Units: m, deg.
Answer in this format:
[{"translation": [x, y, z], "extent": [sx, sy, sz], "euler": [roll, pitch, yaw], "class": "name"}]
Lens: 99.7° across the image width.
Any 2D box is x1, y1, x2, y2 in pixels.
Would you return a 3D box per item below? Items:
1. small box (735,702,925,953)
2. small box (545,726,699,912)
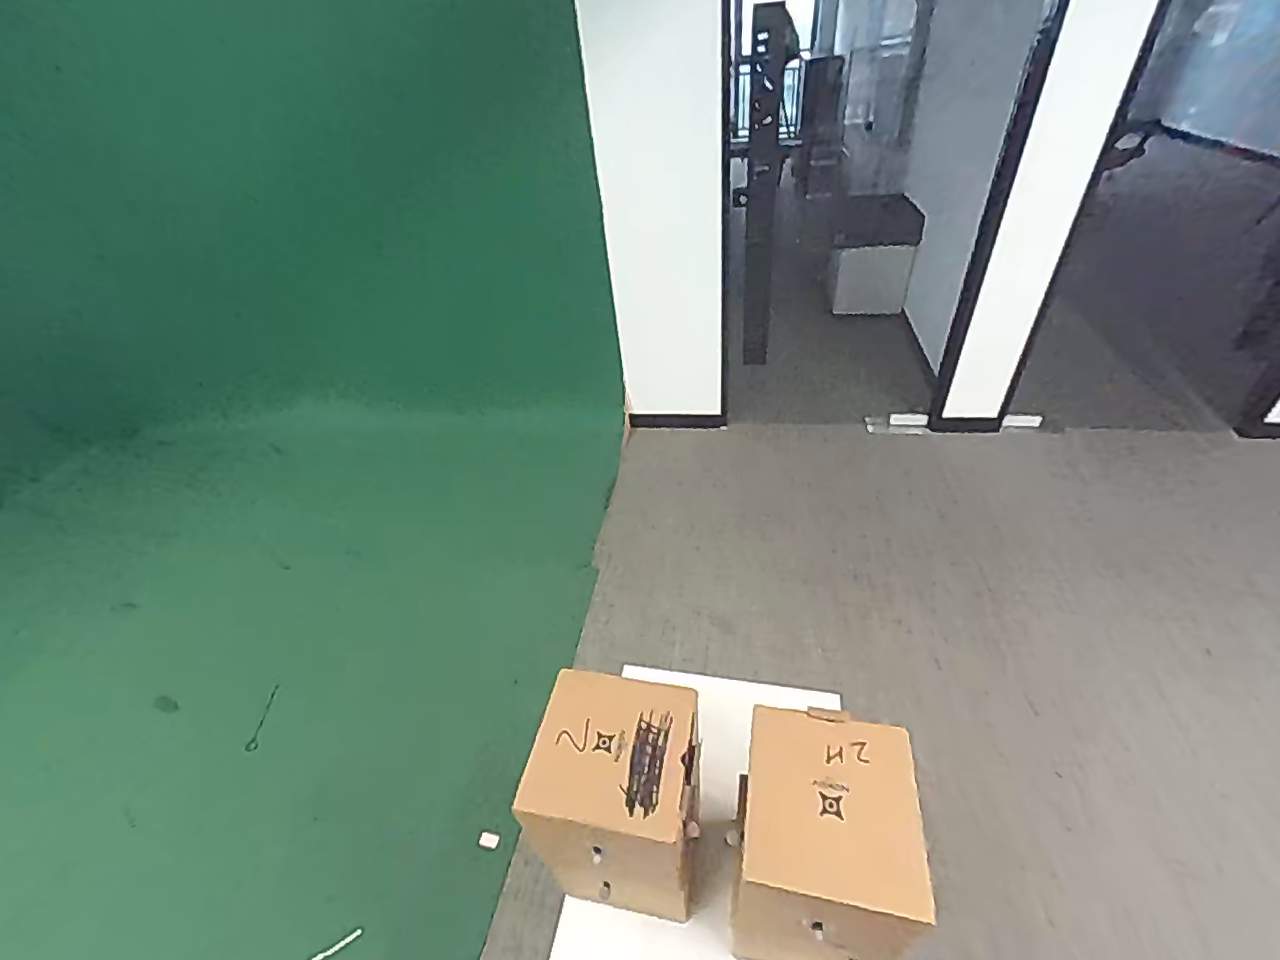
[{"translation": [0.195, 0.379, 0.594], "extent": [0.168, 0.176, 0.179], "euler": [5, 41, 13], "class": "small box"}, {"translation": [-0.013, 0.477, 0.763], "extent": [0.179, 0.176, 0.168], "euler": [5, 42, 11], "class": "small box"}]
